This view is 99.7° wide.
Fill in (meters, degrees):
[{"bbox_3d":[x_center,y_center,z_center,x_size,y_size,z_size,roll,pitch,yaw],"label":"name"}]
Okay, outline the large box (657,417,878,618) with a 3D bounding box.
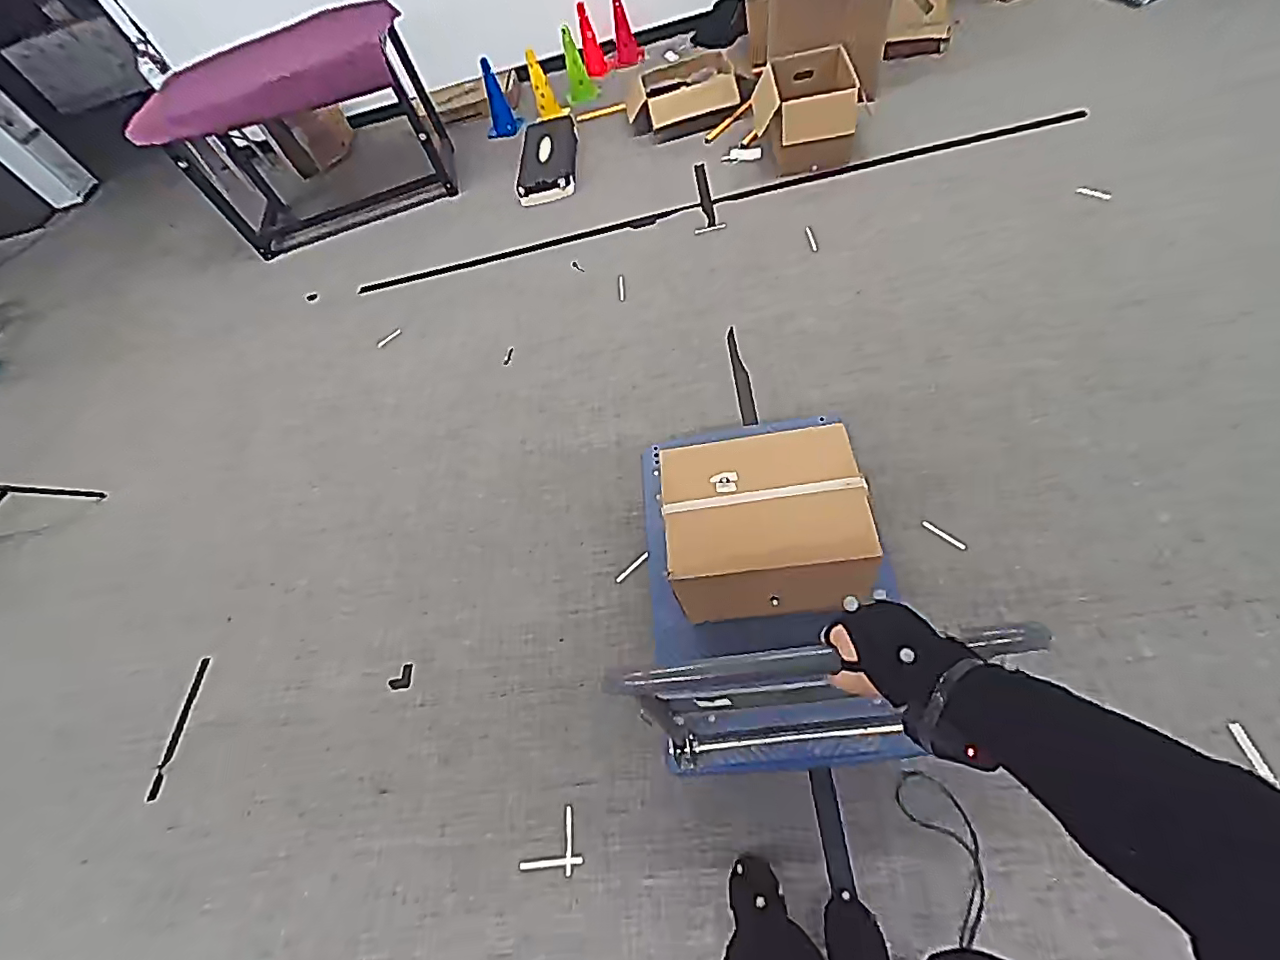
[{"bbox_3d":[0.274,0.102,1.226,0.408,0.320,0.320,-9,57,10],"label":"large box"}]
